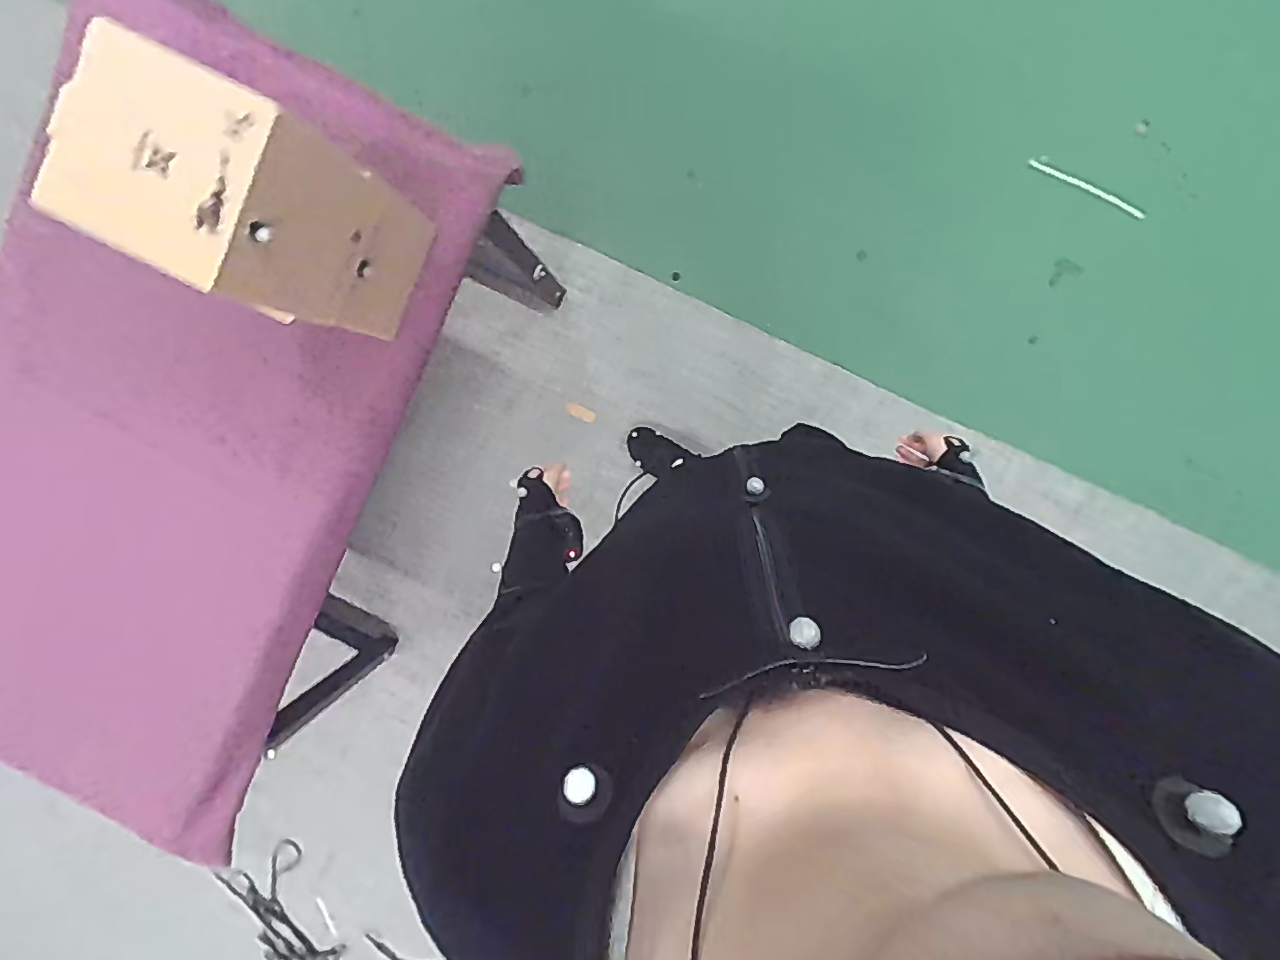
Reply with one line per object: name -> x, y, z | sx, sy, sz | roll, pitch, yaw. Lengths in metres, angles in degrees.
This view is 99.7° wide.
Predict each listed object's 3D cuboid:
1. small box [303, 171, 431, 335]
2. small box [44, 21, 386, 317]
small box -> -0.400, -0.305, 0.697 | 0.168, 0.176, 0.179 | 25, 97, 1
small box -> -0.397, -0.280, 0.534 | 0.179, 0.176, 0.168 | 27, 98, 2
